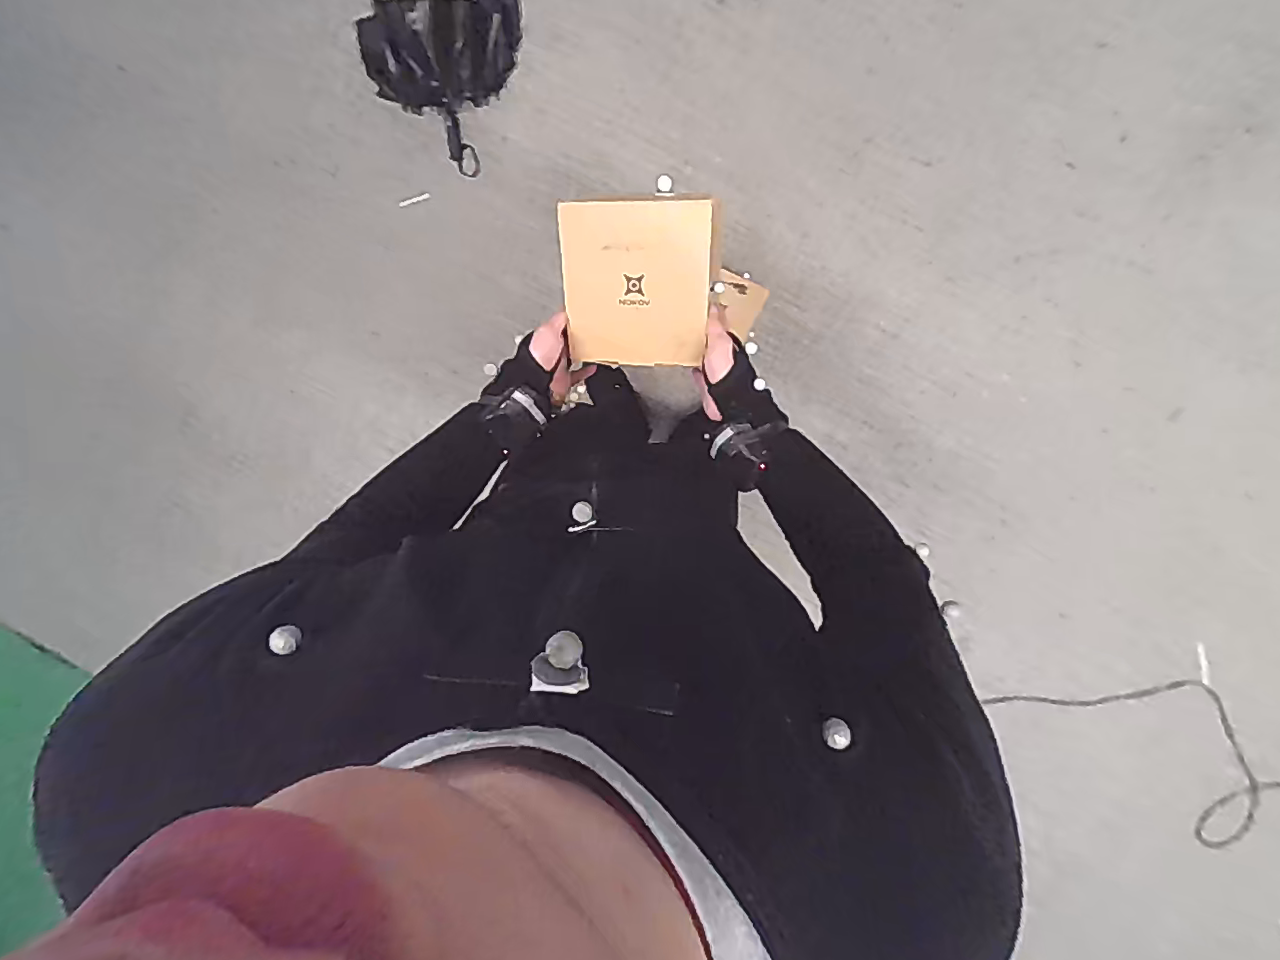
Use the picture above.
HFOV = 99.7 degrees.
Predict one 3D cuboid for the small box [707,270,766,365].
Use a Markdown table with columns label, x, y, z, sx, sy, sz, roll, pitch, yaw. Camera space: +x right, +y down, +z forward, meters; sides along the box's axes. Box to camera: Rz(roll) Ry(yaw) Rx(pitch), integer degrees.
| label | x | y | z | sx | sy | sz | roll | pitch | yaw |
| --- | --- | --- | --- | --- | --- | --- | --- | --- | --- |
| small box | 0.199 | -0.404 | 1.327 | 0.168 | 0.176 | 0.179 | 27 | 111 | 4 |

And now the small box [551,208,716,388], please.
| label | x | y | z | sx | sy | sz | roll | pitch | yaw |
| --- | --- | --- | --- | --- | --- | --- | --- | --- | --- |
| small box | 0.004 | -0.228 | 0.663 | 0.168 | 0.176 | 0.179 | 4 | 121 | 10 |
